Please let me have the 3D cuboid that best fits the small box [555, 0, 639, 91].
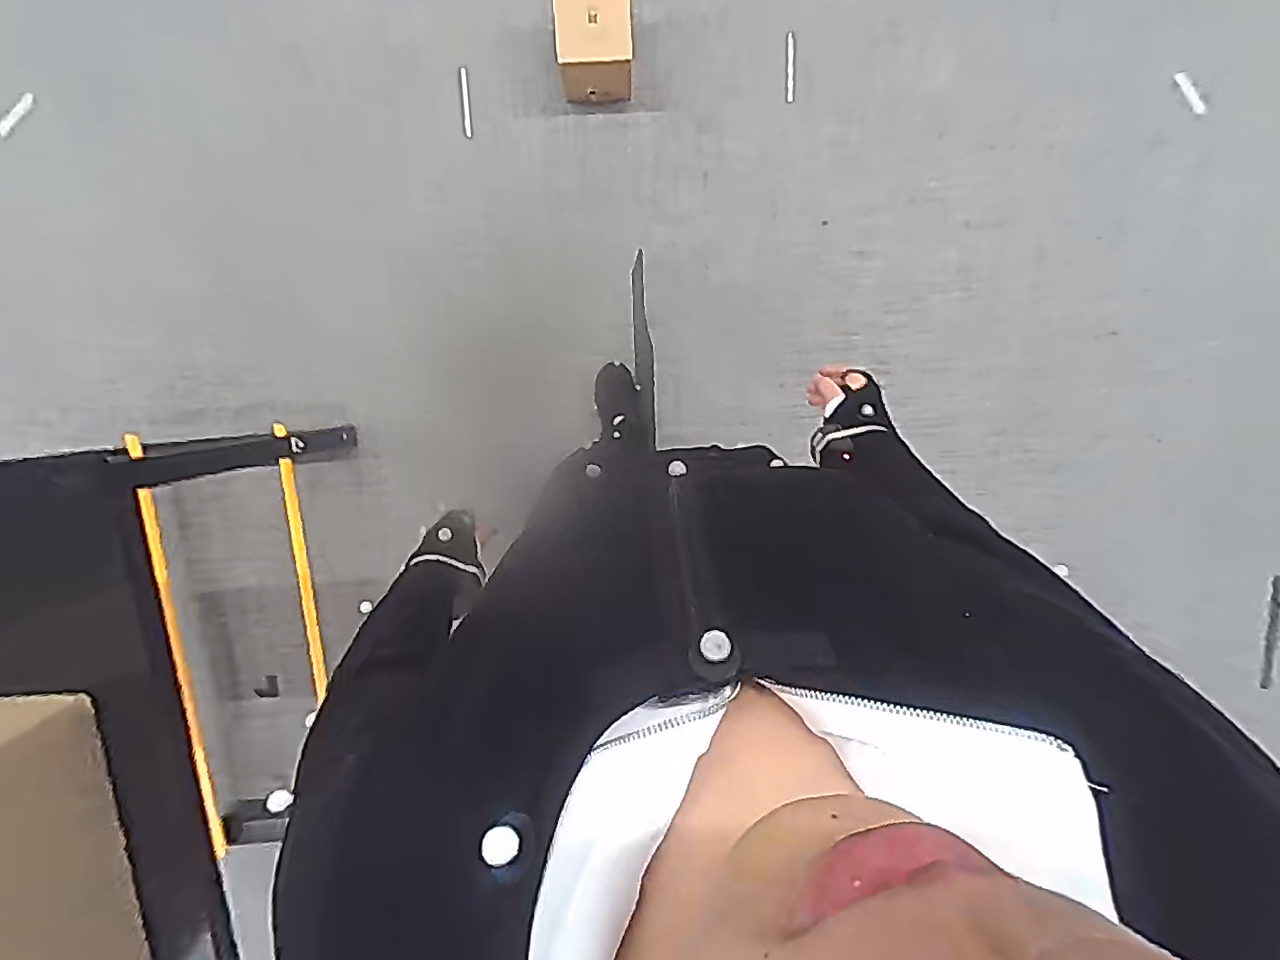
[{"bbox_3d":[-0.090,-0.971,1.150,0.168,0.176,0.179,-4,101,0],"label":"small box"}]
